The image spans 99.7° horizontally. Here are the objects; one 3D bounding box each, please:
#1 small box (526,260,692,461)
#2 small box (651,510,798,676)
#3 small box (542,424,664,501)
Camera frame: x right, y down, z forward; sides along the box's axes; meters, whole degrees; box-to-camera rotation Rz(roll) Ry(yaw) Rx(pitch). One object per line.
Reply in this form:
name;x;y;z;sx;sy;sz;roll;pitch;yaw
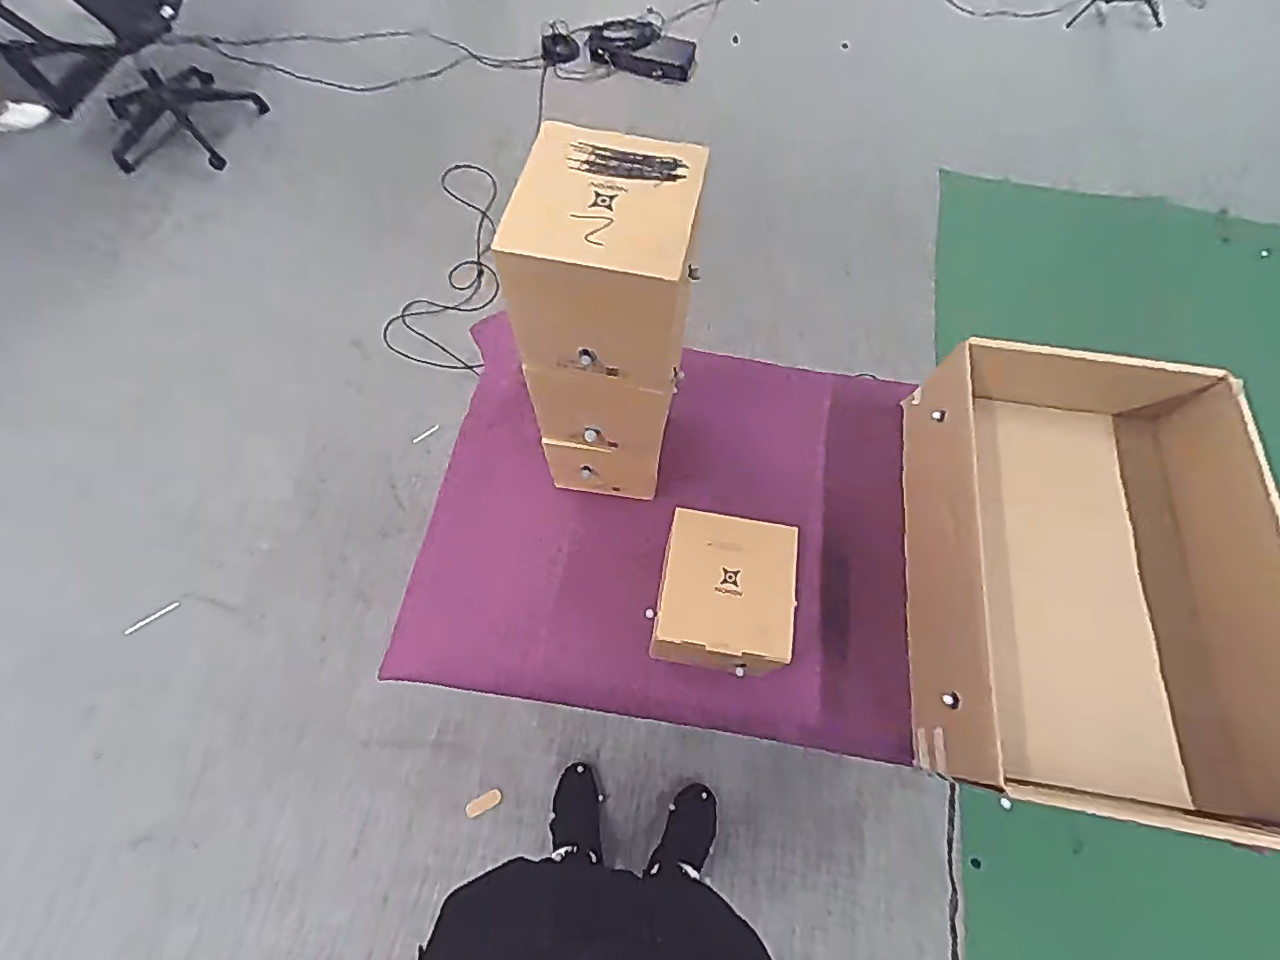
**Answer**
small box;-0.035;-0.151;0.713;0.168;0.176;0.179;12;66;5
small box;0.110;0.164;0.751;0.168;0.176;0.179;10;64;3
small box;-0.046;-0.081;0.861;0.168;0.176;0.179;8;65;3
